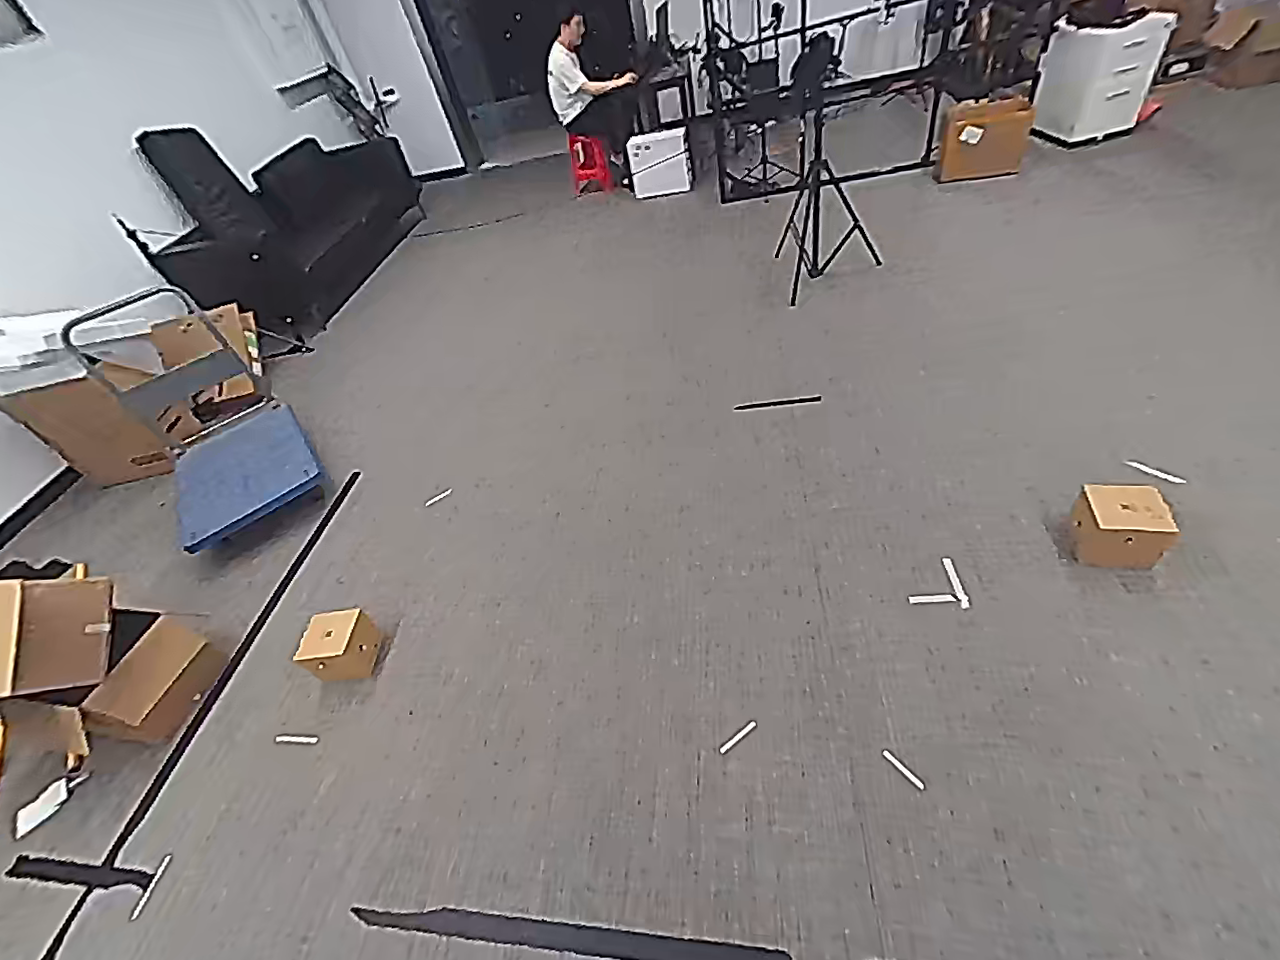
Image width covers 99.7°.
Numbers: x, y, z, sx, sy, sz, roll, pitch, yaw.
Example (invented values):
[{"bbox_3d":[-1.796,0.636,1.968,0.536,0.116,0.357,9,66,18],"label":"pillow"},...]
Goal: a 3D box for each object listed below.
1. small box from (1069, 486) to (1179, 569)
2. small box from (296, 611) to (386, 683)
[{"bbox_3d":[1.359,0.136,1.538,0.179,0.176,0.168,3,48,18],"label":"small box"},{"bbox_3d":[-0.985,0.558,1.800,0.179,0.176,0.168,-10,44,7],"label":"small box"}]
